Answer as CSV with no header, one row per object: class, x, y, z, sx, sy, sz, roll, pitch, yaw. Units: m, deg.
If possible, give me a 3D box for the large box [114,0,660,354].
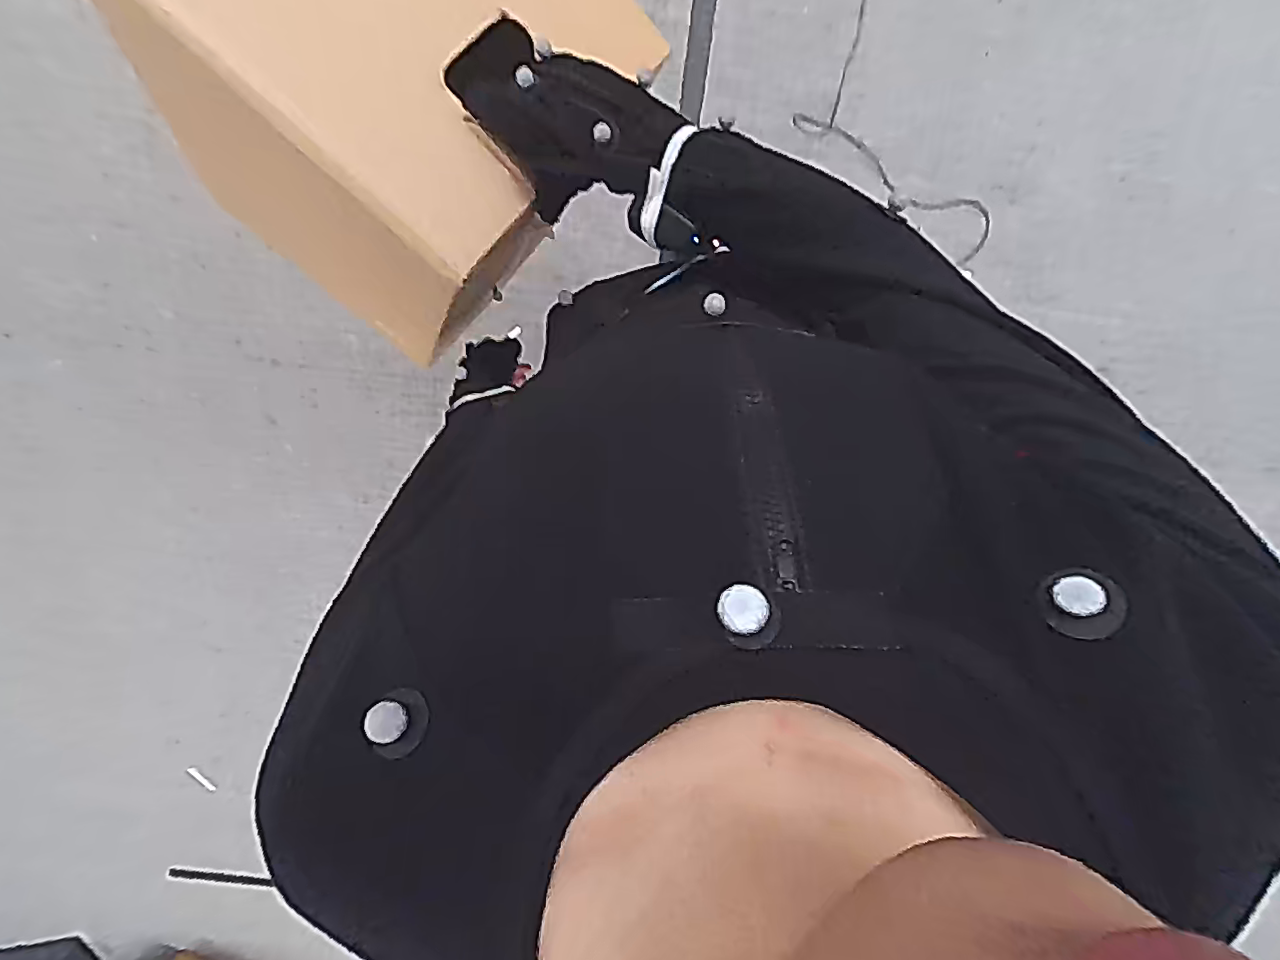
large box,-0.251,-0.386,0.602,0.320,0.408,0.320,42,75,-21
